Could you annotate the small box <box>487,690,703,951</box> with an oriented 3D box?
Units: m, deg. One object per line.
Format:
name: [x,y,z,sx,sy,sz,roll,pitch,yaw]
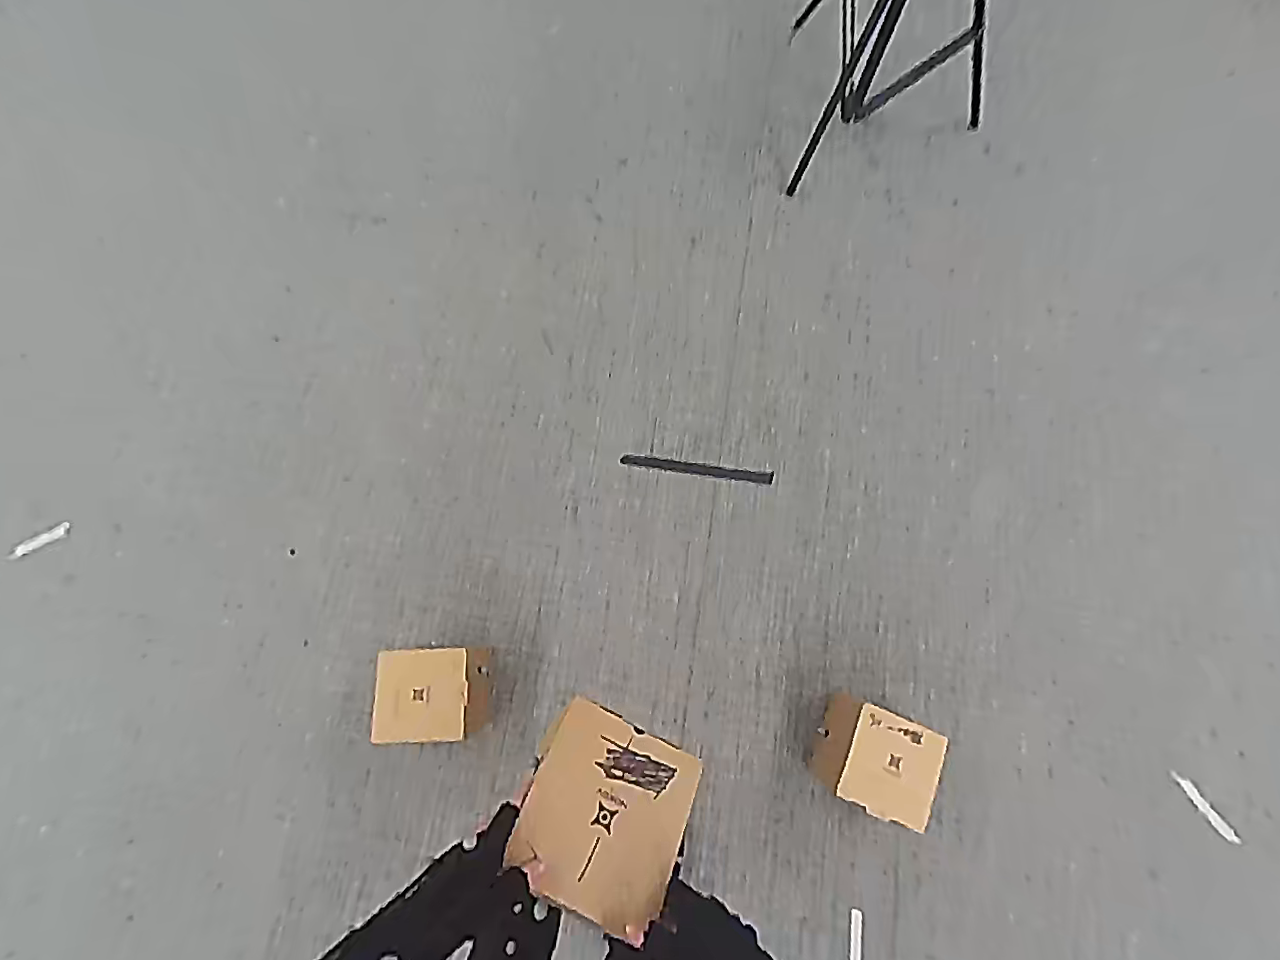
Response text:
small box: [-0.056,0.369,0.599,0.168,0.176,0.179,28,51,0]

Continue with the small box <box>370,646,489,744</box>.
small box: [-0.412,0.426,1.092,0.179,0.176,0.168,-3,74,0]

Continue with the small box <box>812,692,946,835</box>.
small box: [0.455,0.540,1.059,0.168,0.176,0.179,23,77,6]
